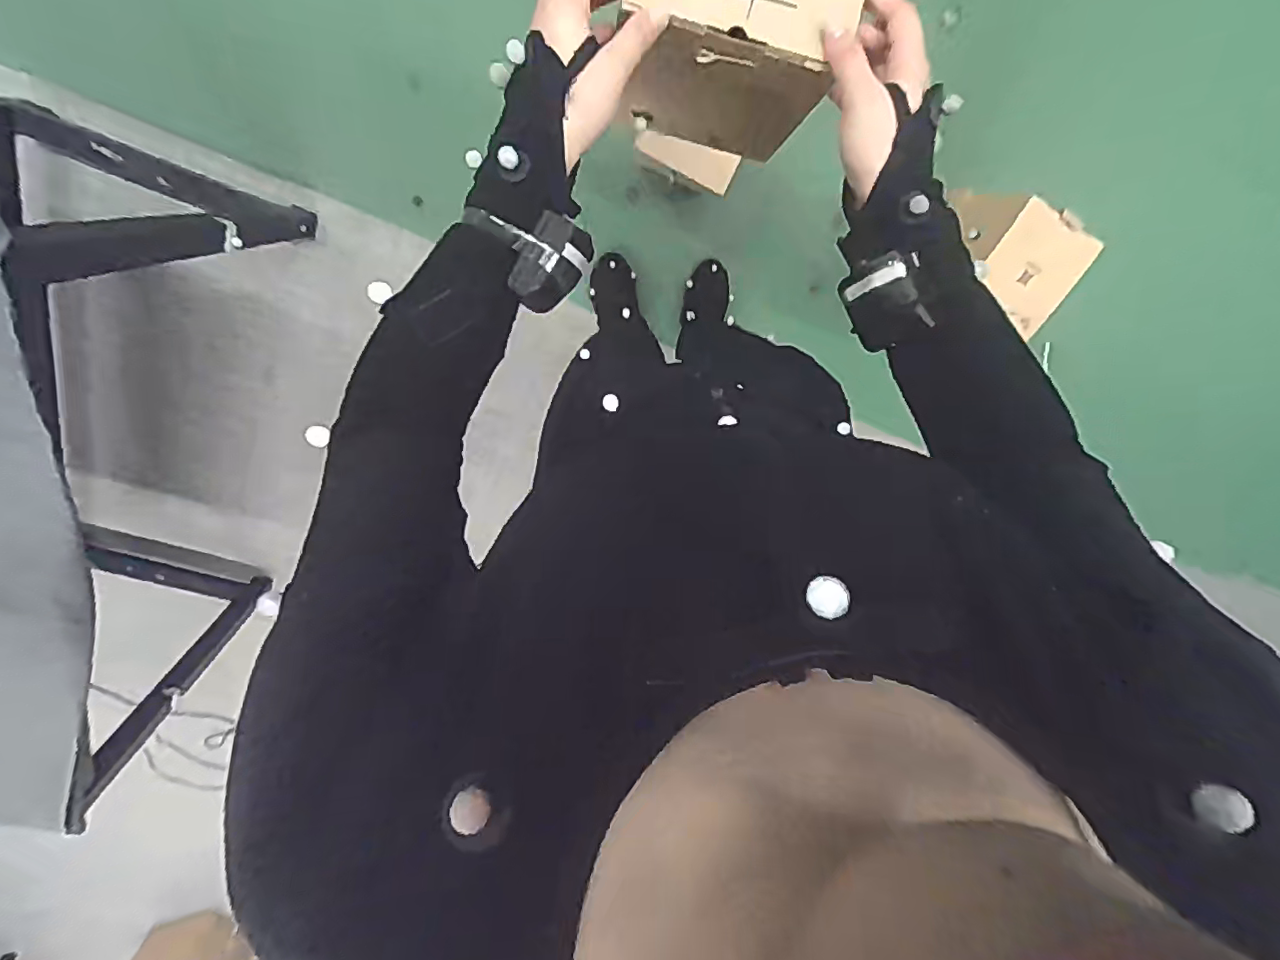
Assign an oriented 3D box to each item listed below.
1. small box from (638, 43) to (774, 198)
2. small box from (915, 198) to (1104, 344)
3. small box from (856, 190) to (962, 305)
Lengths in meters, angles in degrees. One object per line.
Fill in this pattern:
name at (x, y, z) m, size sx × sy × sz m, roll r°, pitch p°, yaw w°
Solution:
small box at (0.105, -0.627, 0.966) m, size 0.179 × 0.176 × 0.168 m, roll 21°, pitch 116°, yaw -14°
small box at (0.628, -0.369, 0.945) m, size 0.168 × 0.176 × 0.179 m, roll 23°, pitch 114°, yaw -16°
small box at (0.623, -0.532, 1.232) m, size 0.168 × 0.176 × 0.179 m, roll 27°, pitch 114°, yaw -16°
